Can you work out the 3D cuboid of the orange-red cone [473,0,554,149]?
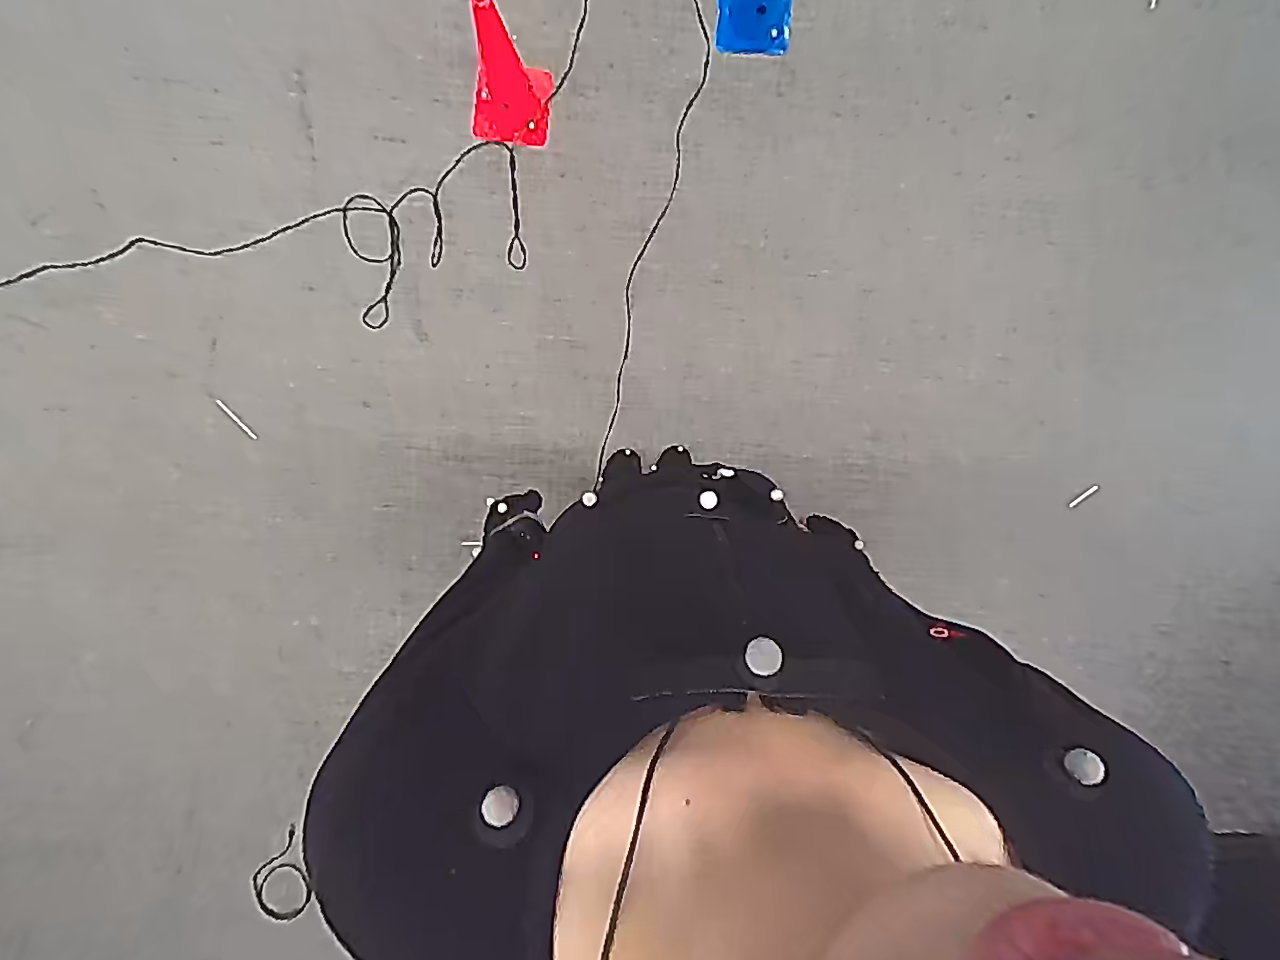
[{"bbox_3d":[-0.328,-0.987,1.267,0.198,0.360,0.199,8,91,-3],"label":"orange-red cone"}]
